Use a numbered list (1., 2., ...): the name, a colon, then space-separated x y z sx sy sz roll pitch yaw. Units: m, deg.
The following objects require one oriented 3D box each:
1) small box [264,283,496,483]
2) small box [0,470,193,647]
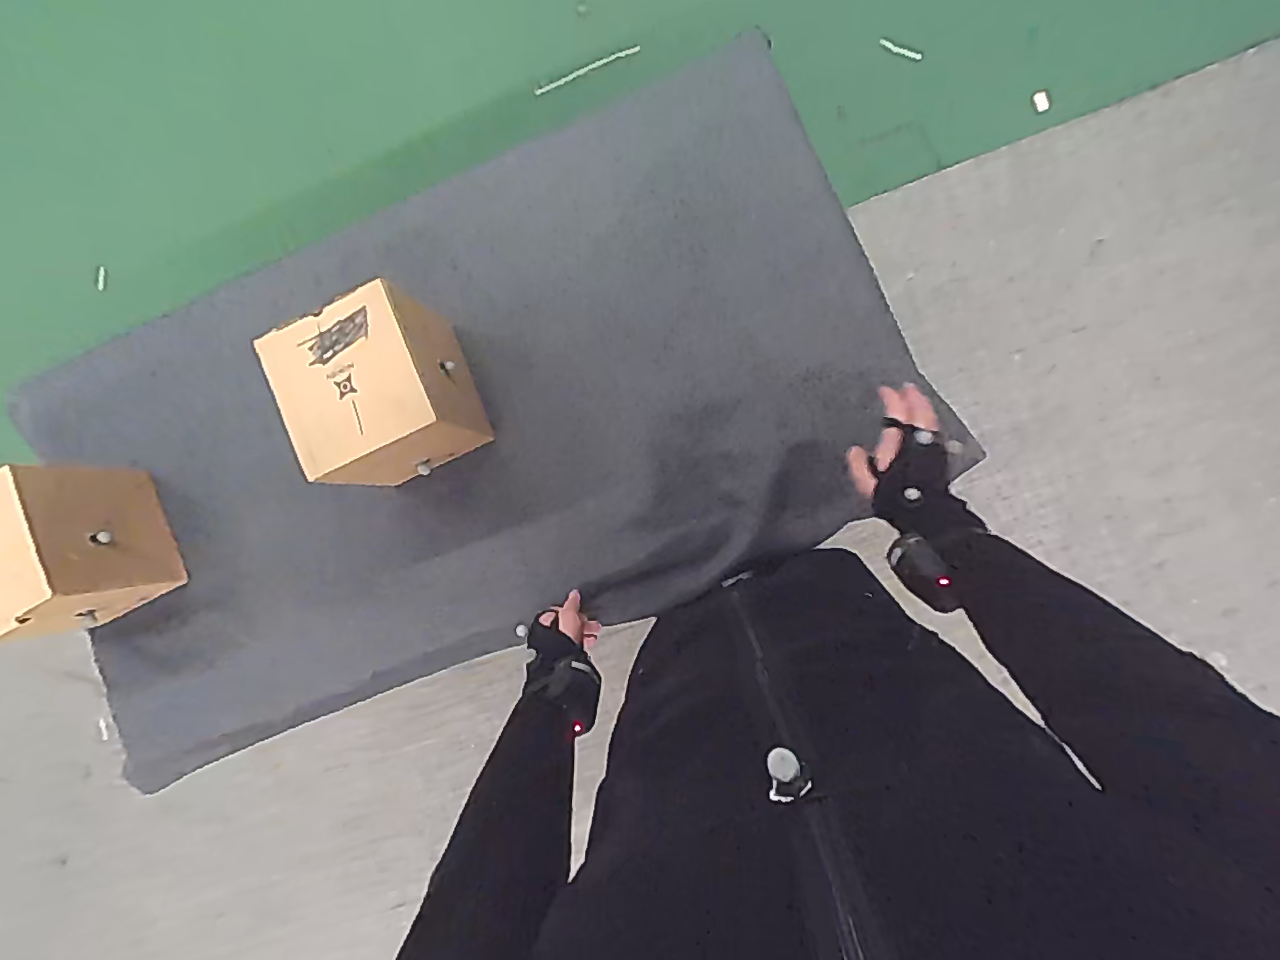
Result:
1. small box: -0.307 -0.105 0.672 0.168 0.176 0.179 -24 85 6
2. small box: -0.761 0.099 0.725 0.168 0.176 0.179 -26 85 5
